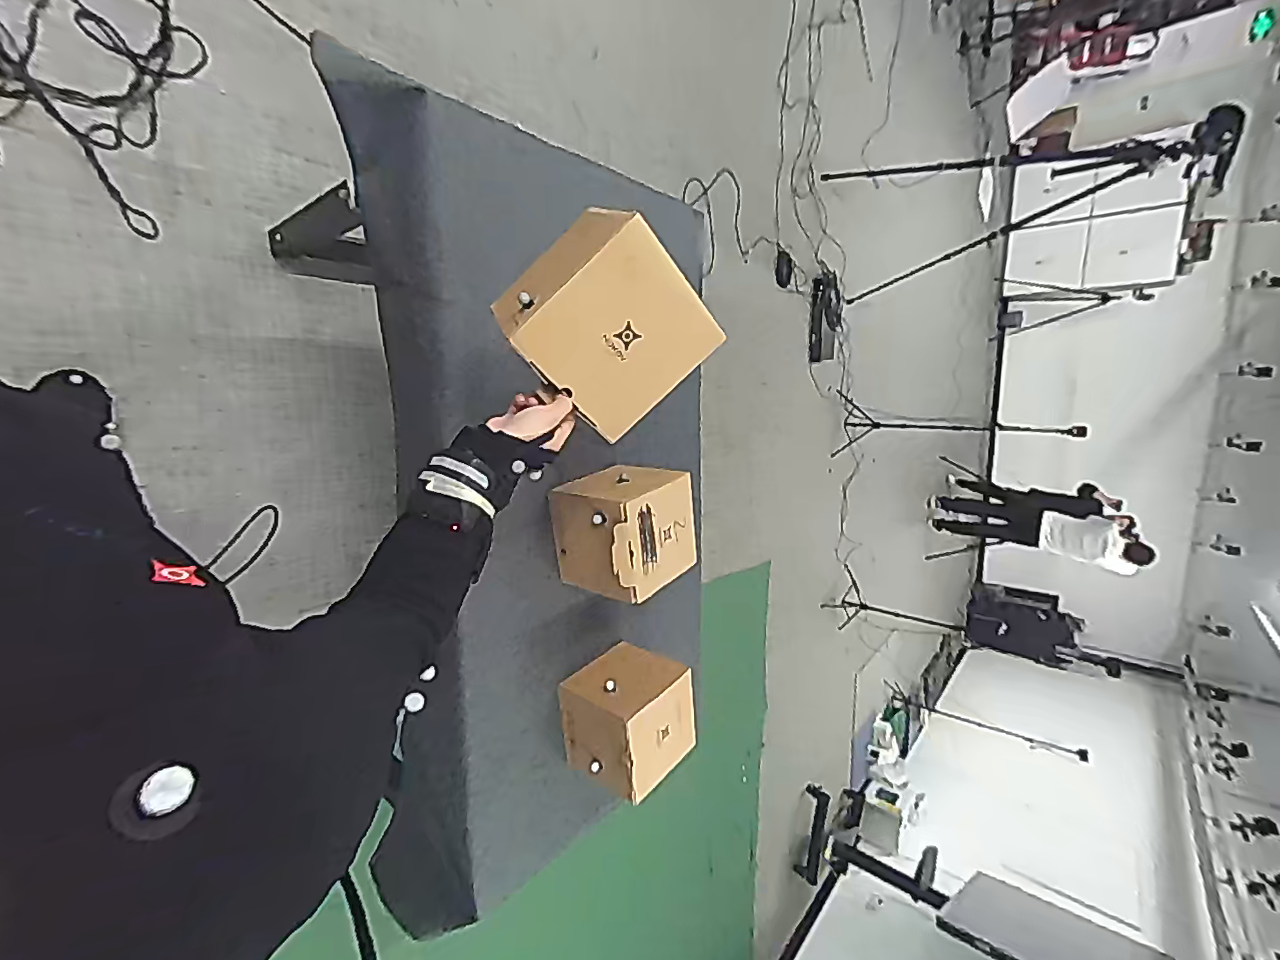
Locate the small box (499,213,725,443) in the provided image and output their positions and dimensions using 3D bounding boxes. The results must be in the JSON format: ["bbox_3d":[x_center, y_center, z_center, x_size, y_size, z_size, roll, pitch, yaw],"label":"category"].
[{"bbox_3d":[-0.041,-0.181,0.623,0.179,0.176,0.168,-43,125,4],"label":"small box"}]

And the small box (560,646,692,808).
[{"bbox_3d":[-0.028,0.426,0.965,0.179,0.176,0.168,-21,113,-48],"label":"small box"}]
